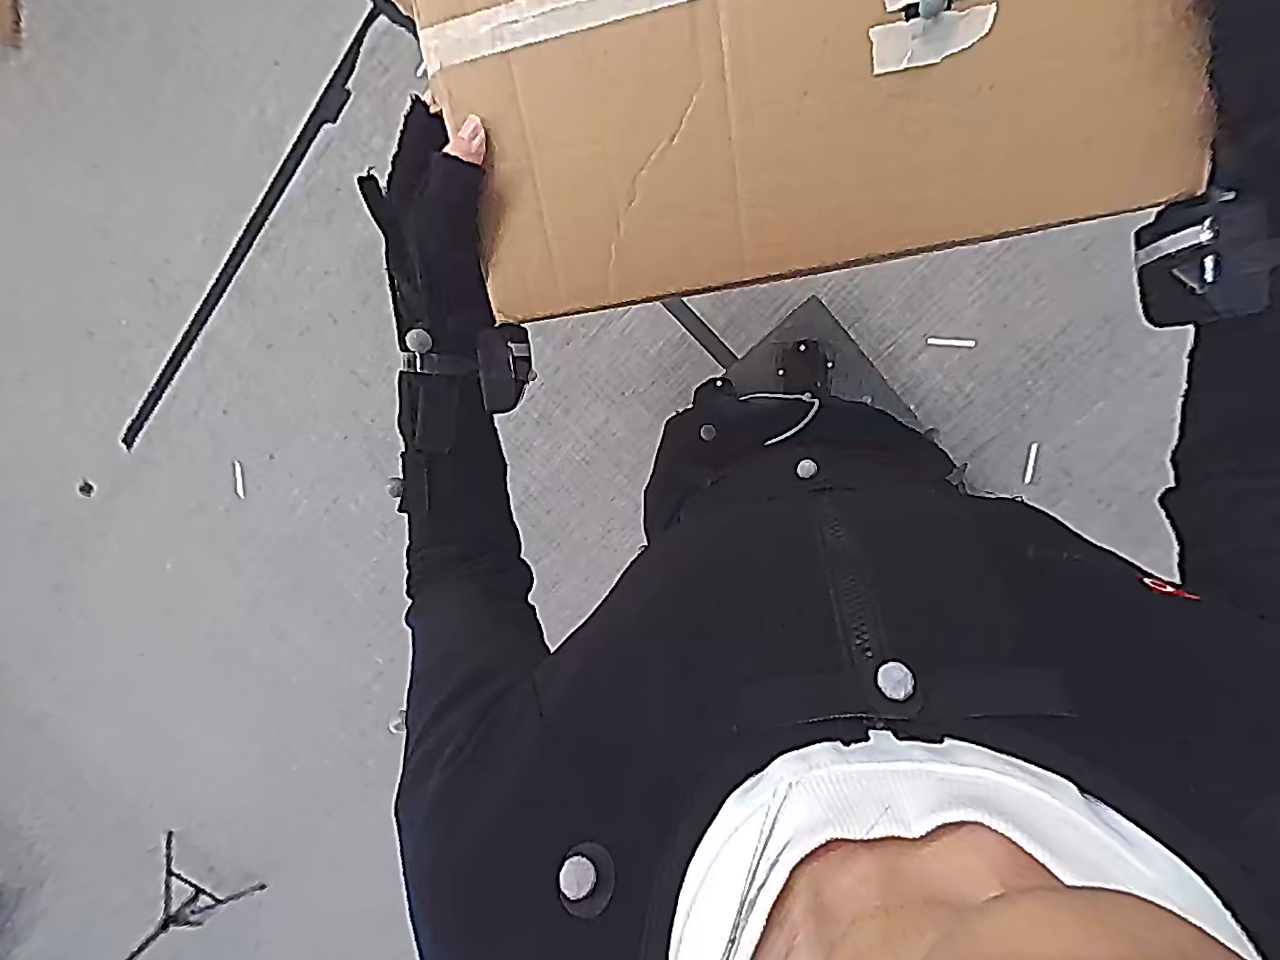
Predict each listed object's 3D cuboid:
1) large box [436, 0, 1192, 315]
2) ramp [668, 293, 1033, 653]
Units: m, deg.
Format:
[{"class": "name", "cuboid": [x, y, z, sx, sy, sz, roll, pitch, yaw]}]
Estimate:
[{"class": "large box", "cuboid": [0.095, -0.329, 0.432, 0.408, 0.320, 0.320, -7, 108, 10]}, {"class": "ramp", "cuboid": [0.590, 0.033, 1.477, 0.991, 0.206, 0.509, 46, 105, -2]}]
